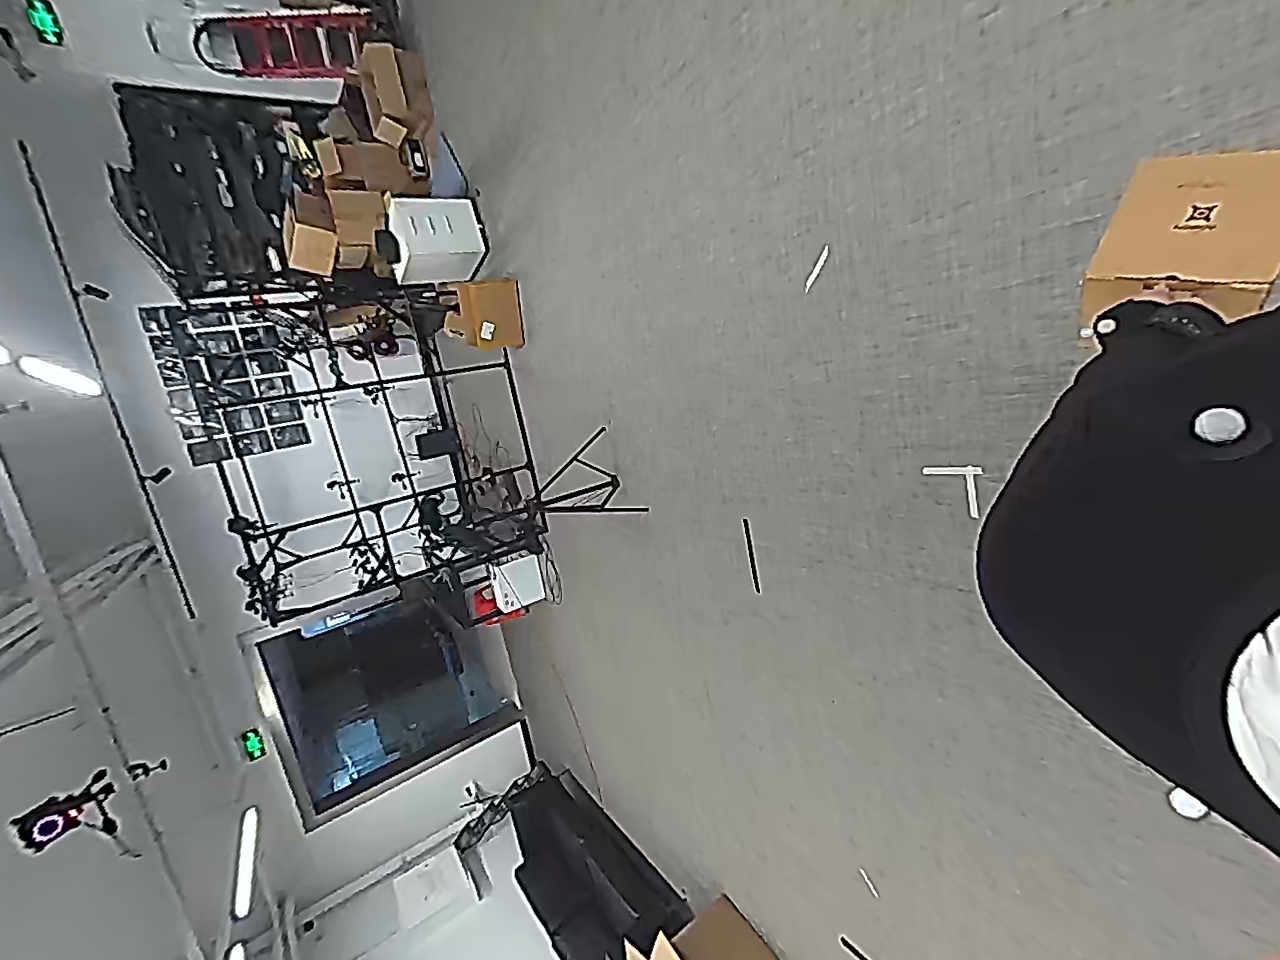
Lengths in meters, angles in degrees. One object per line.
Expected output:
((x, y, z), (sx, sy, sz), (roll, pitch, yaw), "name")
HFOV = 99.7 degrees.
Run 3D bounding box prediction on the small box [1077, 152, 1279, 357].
((0.698, -0.282, 0.700), (0.168, 0.176, 0.179), (24, 85, 40), "small box")
